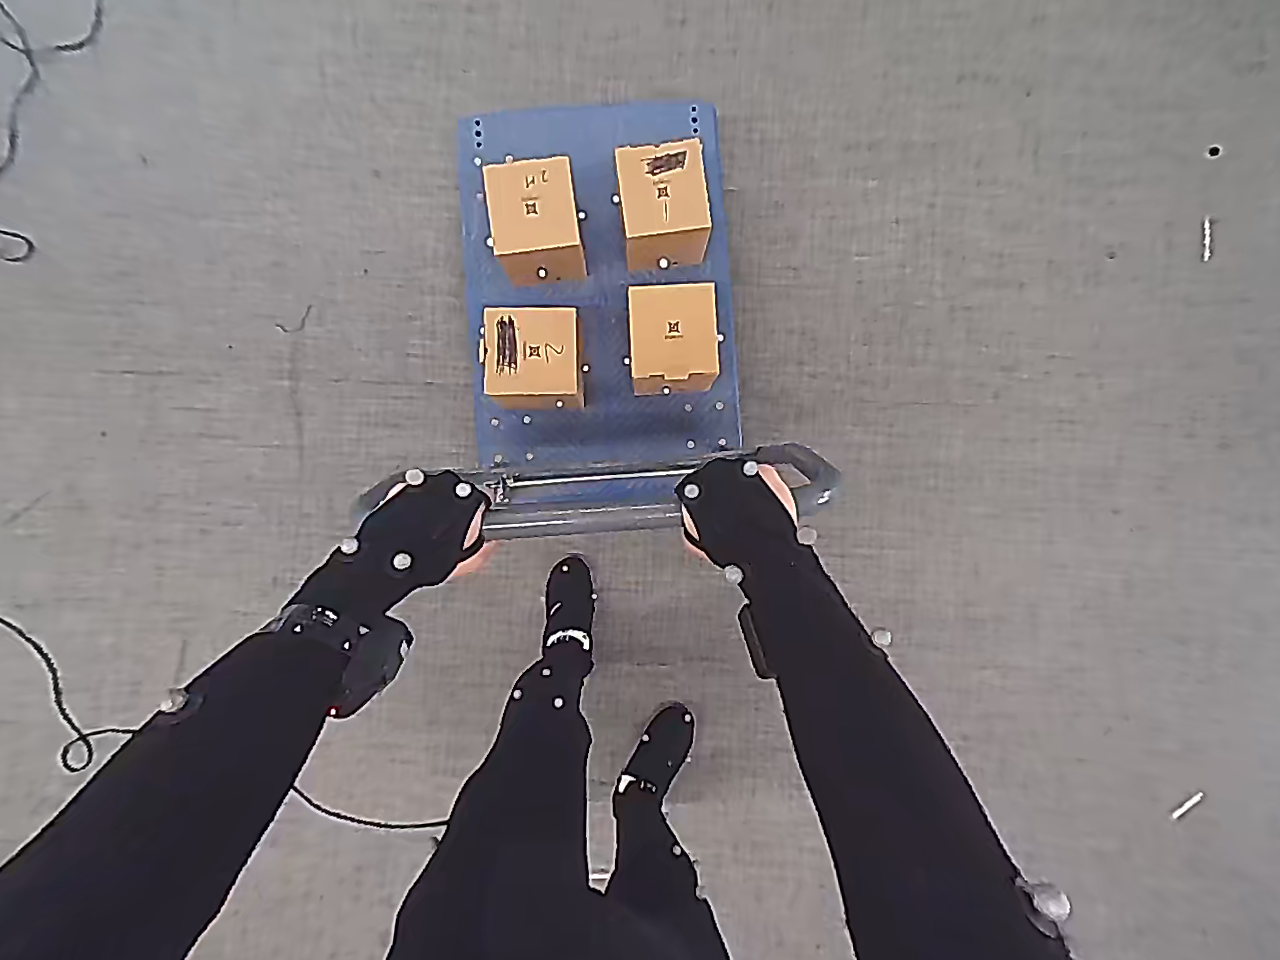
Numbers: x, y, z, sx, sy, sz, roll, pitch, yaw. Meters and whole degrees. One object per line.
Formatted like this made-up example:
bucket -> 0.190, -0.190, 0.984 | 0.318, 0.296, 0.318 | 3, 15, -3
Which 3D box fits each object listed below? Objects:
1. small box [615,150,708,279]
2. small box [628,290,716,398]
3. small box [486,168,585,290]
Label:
small box -> 0.040, -0.545, 1.128 | 0.168, 0.176, 0.179 | -8, 89, 0
small box -> 0.060, -0.275, 1.121 | 0.168, 0.176, 0.179 | -3, 89, -1
small box -> -0.209, -0.509, 1.125 | 0.168, 0.176, 0.179 | -8, 88, -2
